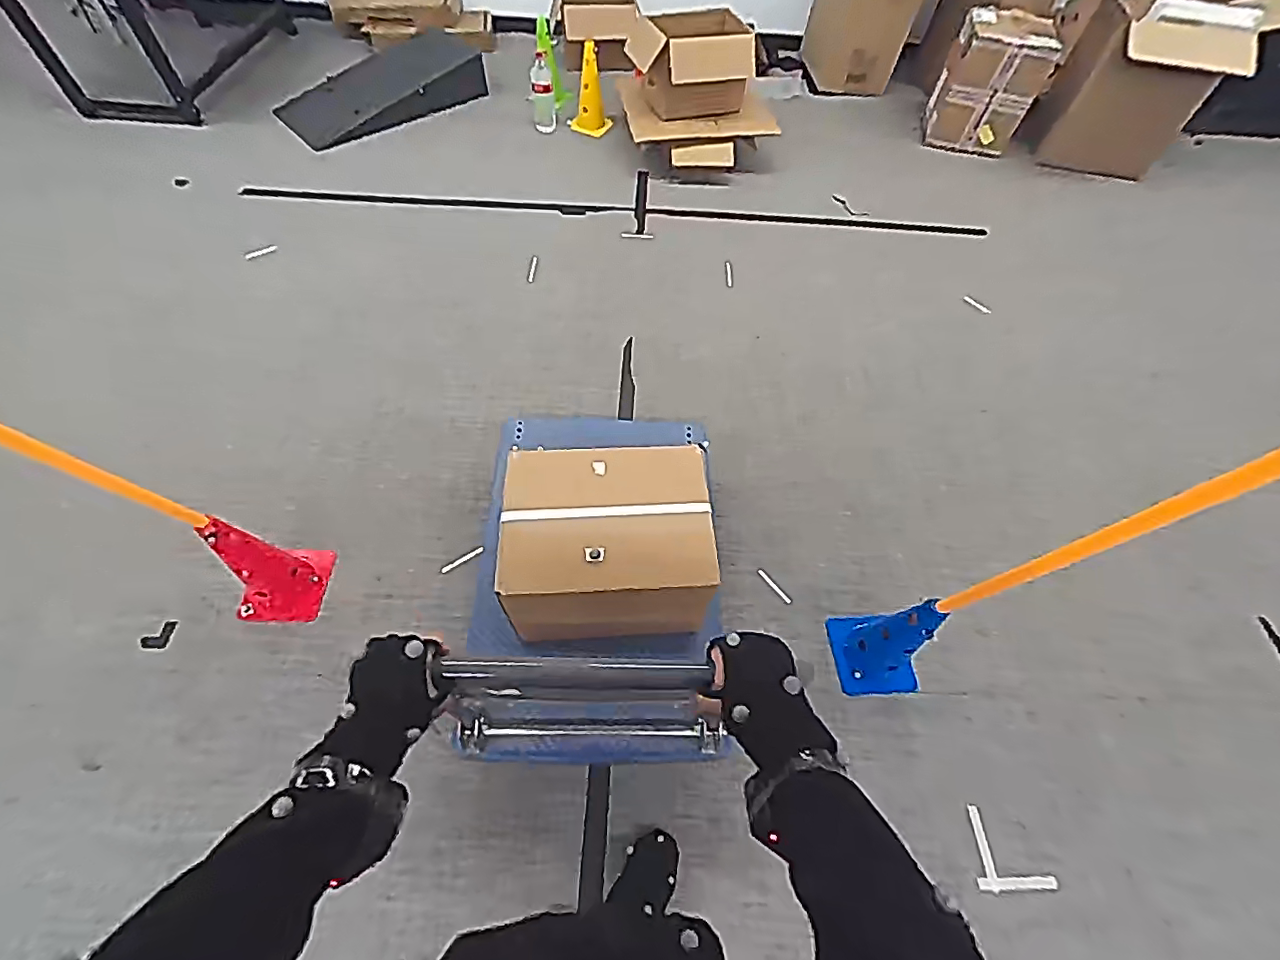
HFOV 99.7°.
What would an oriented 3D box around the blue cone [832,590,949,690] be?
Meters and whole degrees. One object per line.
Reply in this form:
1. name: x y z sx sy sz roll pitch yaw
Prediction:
1. blue cone: 0.618 0.356 1.272 0.193 0.380 0.192 0 56 -4
